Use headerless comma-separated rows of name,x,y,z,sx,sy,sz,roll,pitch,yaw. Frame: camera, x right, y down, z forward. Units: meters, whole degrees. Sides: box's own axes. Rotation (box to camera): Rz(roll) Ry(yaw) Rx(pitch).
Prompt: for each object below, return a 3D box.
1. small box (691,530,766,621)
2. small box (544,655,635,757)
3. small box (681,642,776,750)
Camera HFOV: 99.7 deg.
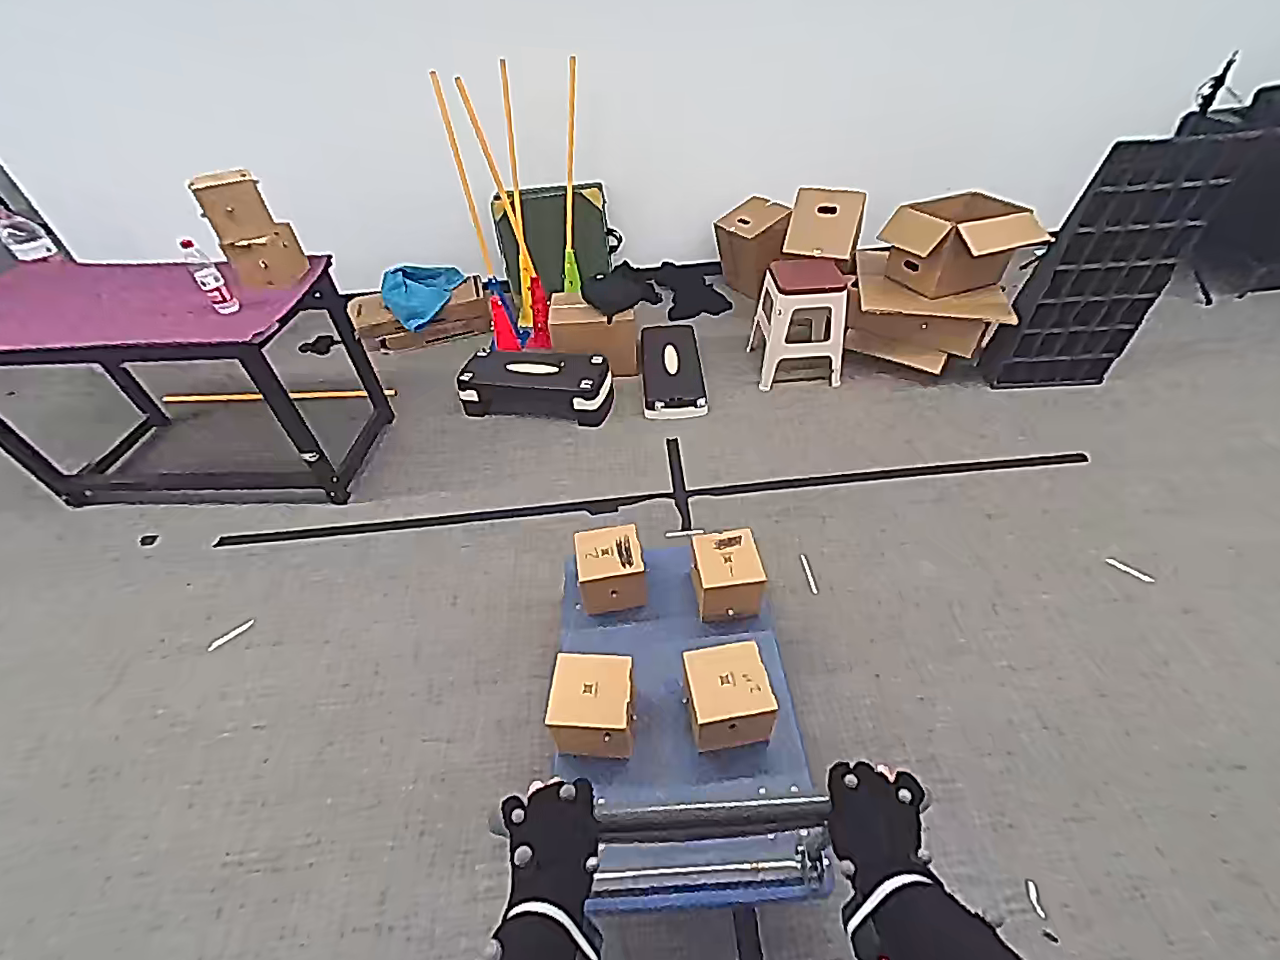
small box,0.233,0.261,1.477,0.168,0.176,0.179,-7,45,-2
small box,-0.107,0.520,1.240,0.179,0.176,0.168,1,44,4
small box,0.197,0.498,1.239,0.179,0.176,0.168,-8,45,-4
